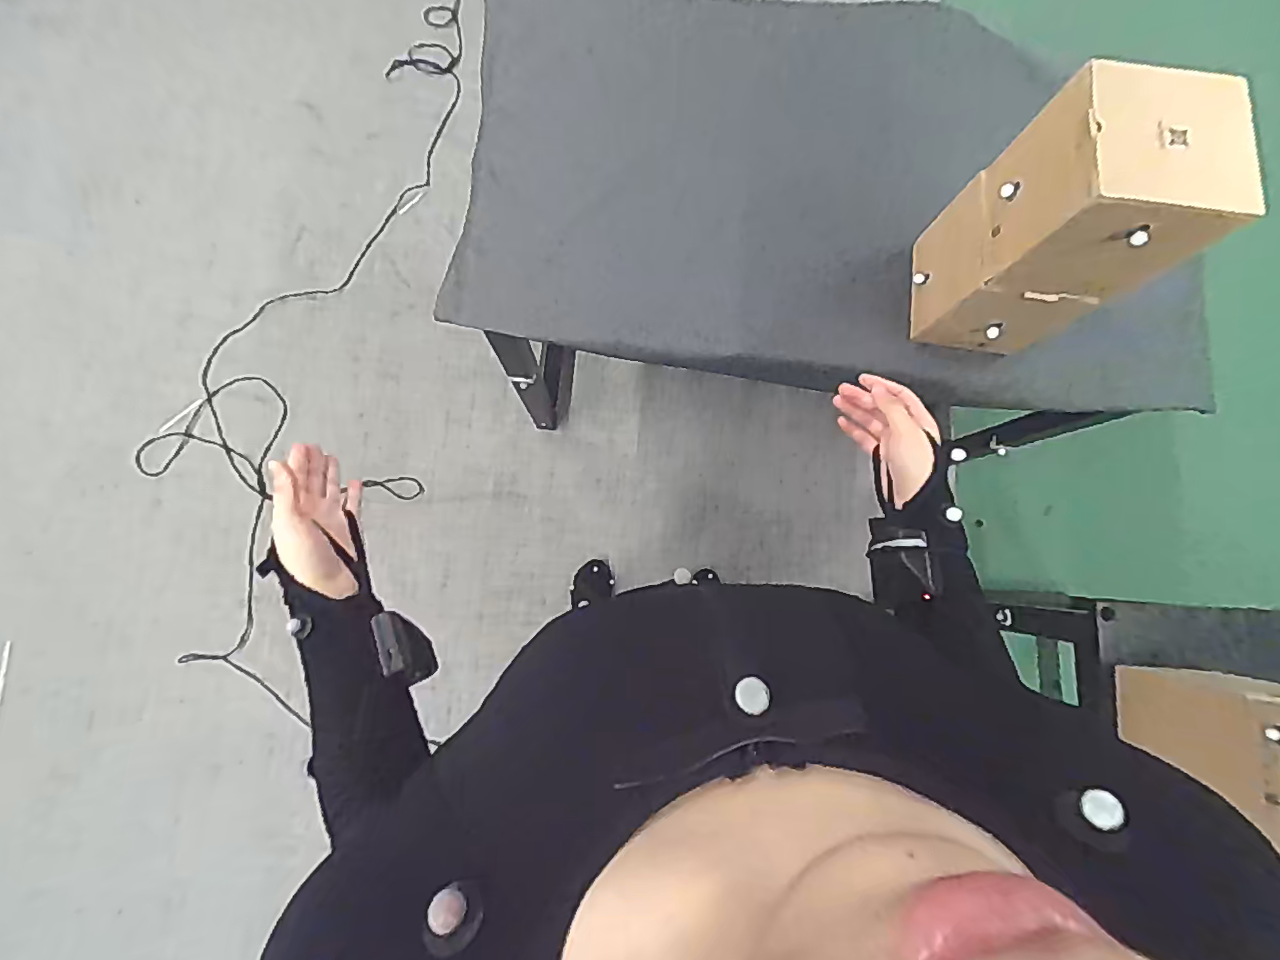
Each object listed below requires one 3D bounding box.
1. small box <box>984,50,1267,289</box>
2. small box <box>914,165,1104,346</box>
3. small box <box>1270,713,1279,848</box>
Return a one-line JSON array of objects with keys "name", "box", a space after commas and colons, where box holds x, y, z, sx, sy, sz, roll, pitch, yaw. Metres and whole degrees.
[{"name": "small box", "box": [0.535, -0.339, 0.621, 0.179, 0.176, 0.168, 5, 80, -1]}, {"name": "small box", "box": [0.519, -0.311, 0.781, 0.168, 0.176, 0.179, 7, 80, -1]}, {"name": "small box", "box": [0.793, 0.330, 0.534, 0.179, 0.176, 0.168, 7, 83, -2]}]
